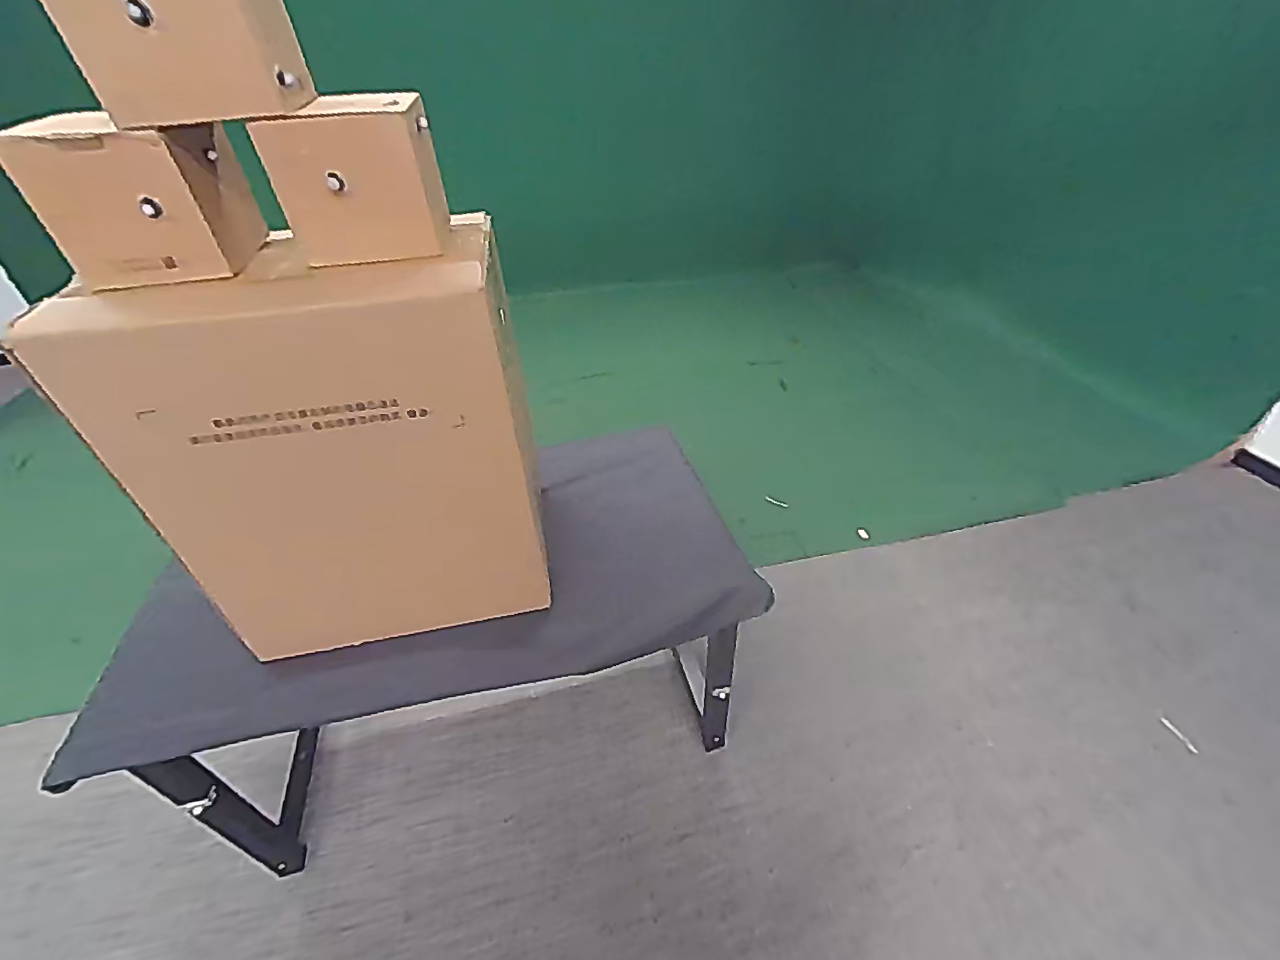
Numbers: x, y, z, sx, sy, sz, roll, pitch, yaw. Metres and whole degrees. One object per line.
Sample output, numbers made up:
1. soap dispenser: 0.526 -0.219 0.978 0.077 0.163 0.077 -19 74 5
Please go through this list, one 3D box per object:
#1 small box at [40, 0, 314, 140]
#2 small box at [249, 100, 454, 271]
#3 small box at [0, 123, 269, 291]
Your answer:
1. small box: -0.502 -0.497 0.605 0.179 0.176 0.168 -11 42 -7
2. small box: -0.369 -0.396 0.731 0.179 0.176 0.168 -9 43 -6
3. small box: -0.620 -0.352 0.696 0.168 0.176 0.179 -9 40 -9
